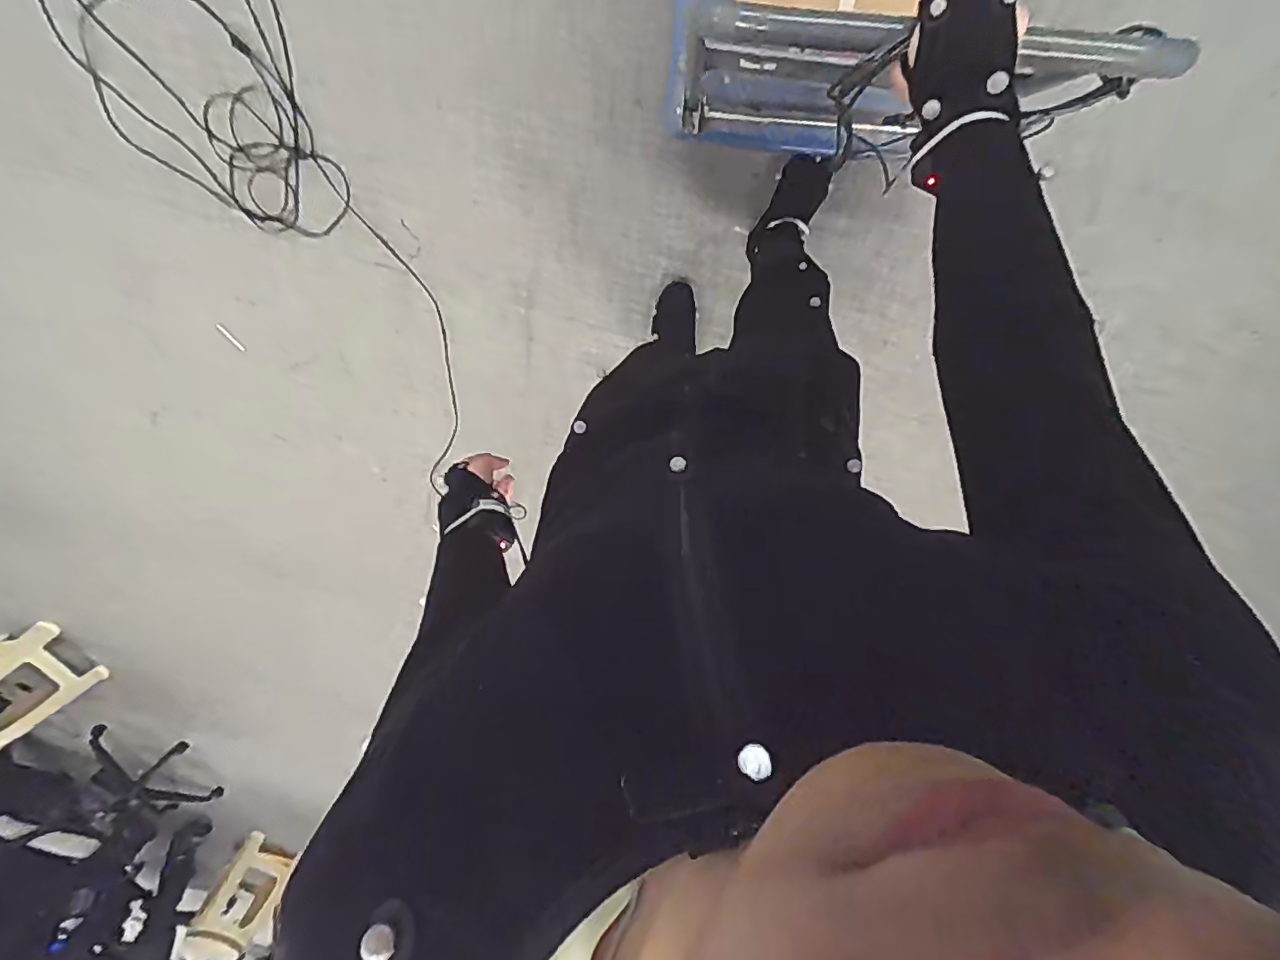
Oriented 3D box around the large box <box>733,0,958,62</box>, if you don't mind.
[{"bbox_3d":[0.329,-0.916,0.811,0.320,0.320,0.408,9,118,1],"label":"large box"}]
